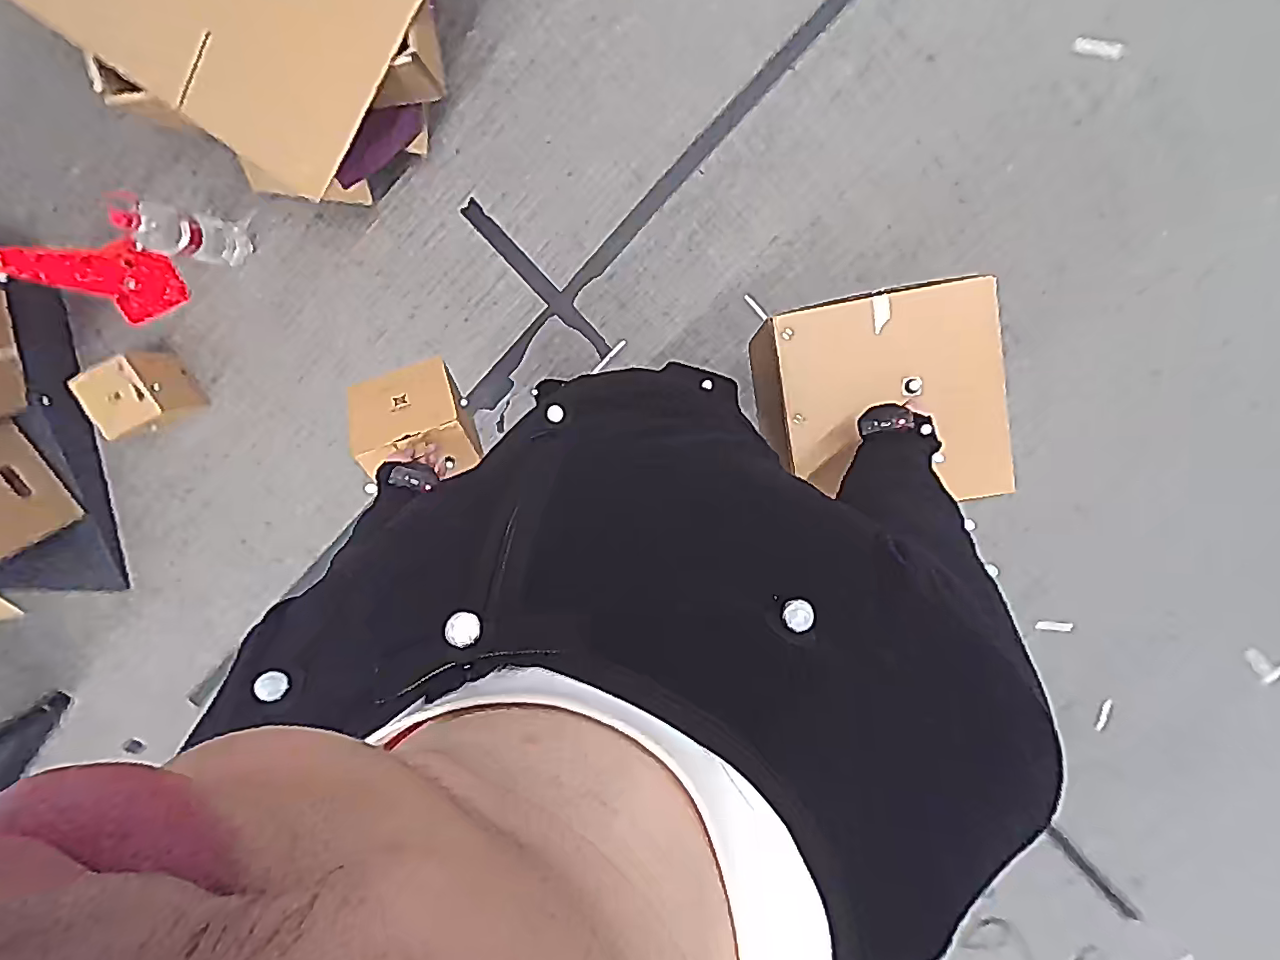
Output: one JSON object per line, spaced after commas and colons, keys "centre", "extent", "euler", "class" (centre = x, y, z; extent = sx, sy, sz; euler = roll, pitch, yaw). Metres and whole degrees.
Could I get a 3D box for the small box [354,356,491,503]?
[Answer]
{"centre": [-0.376, -0.080, 0.949], "extent": [0.168, 0.179, 0.176], "euler": [-20, 143, -9], "class": "small box"}
